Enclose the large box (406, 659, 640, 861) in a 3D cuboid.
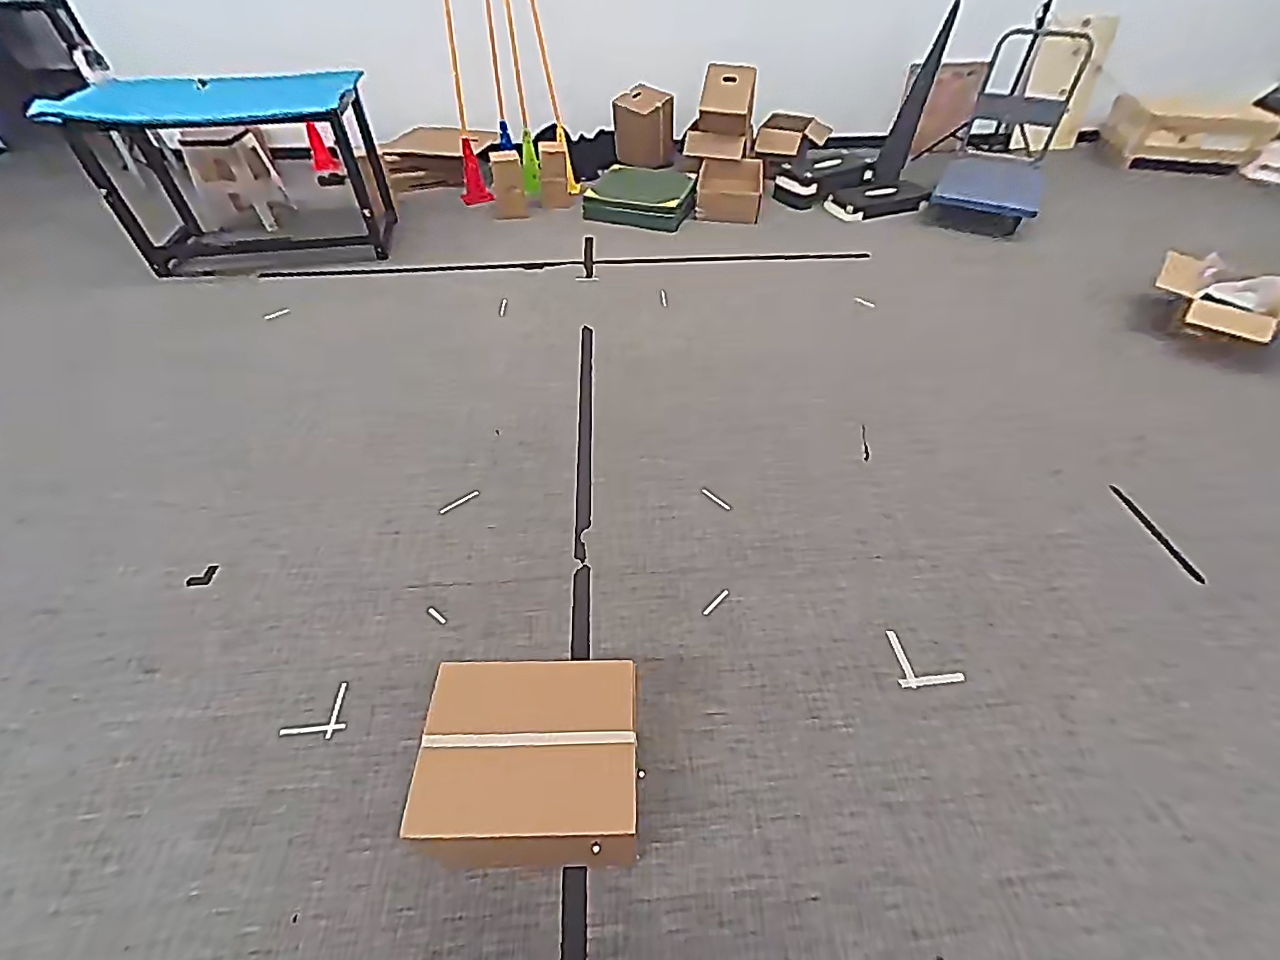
[{"bbox_3d":[-0.206,0.592,1.135,0.408,0.320,0.320,-1,47,-1],"label":"large box"}]
